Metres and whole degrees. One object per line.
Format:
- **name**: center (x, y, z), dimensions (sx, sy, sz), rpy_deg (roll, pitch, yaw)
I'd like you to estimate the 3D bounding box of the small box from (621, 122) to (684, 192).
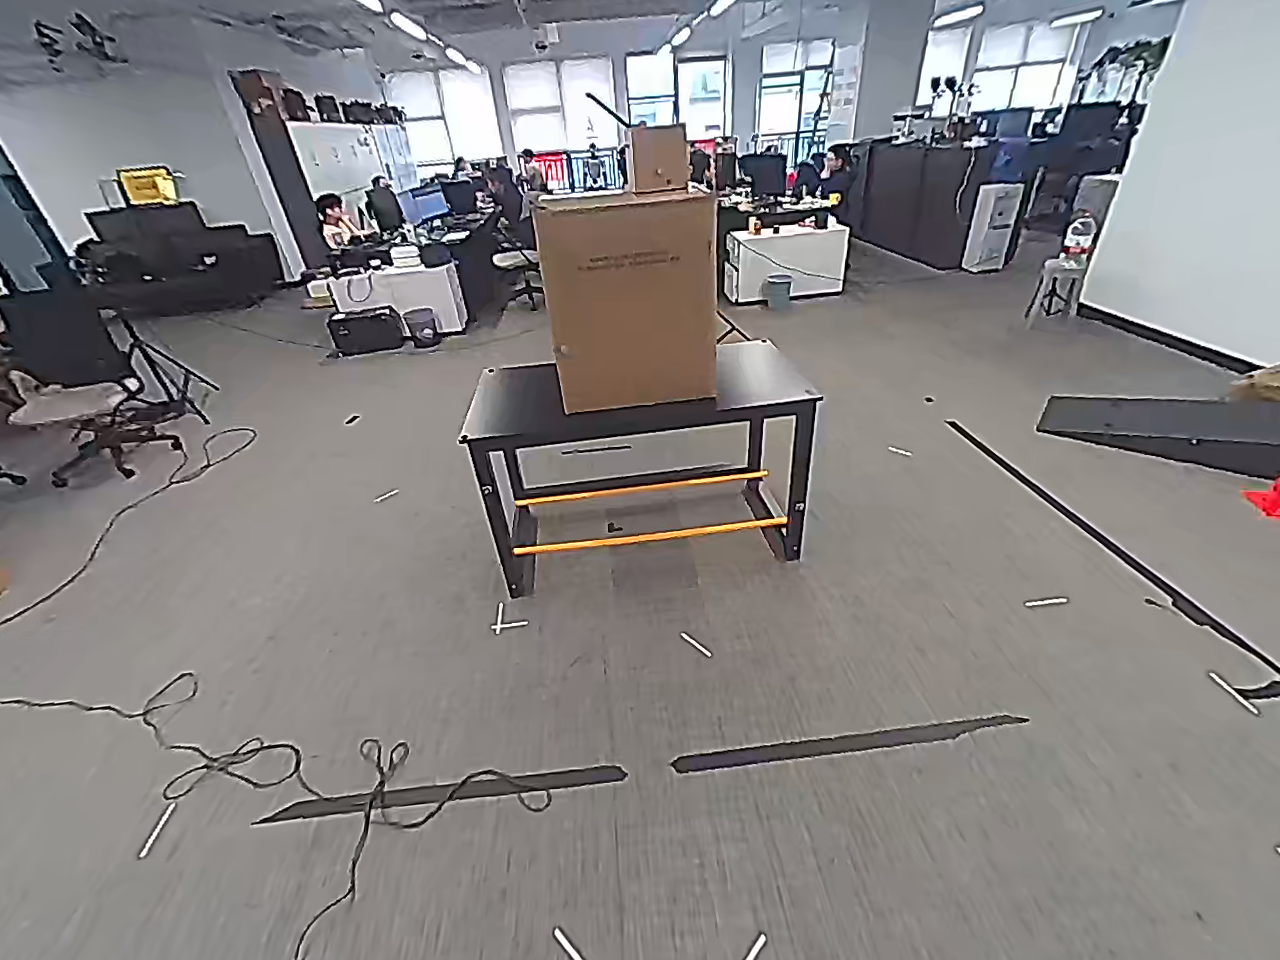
- **small box**: center (0.038, -0.988, 1.657), dimensions (0.168, 0.176, 0.179), rpy_deg (-9, 33, -4)
